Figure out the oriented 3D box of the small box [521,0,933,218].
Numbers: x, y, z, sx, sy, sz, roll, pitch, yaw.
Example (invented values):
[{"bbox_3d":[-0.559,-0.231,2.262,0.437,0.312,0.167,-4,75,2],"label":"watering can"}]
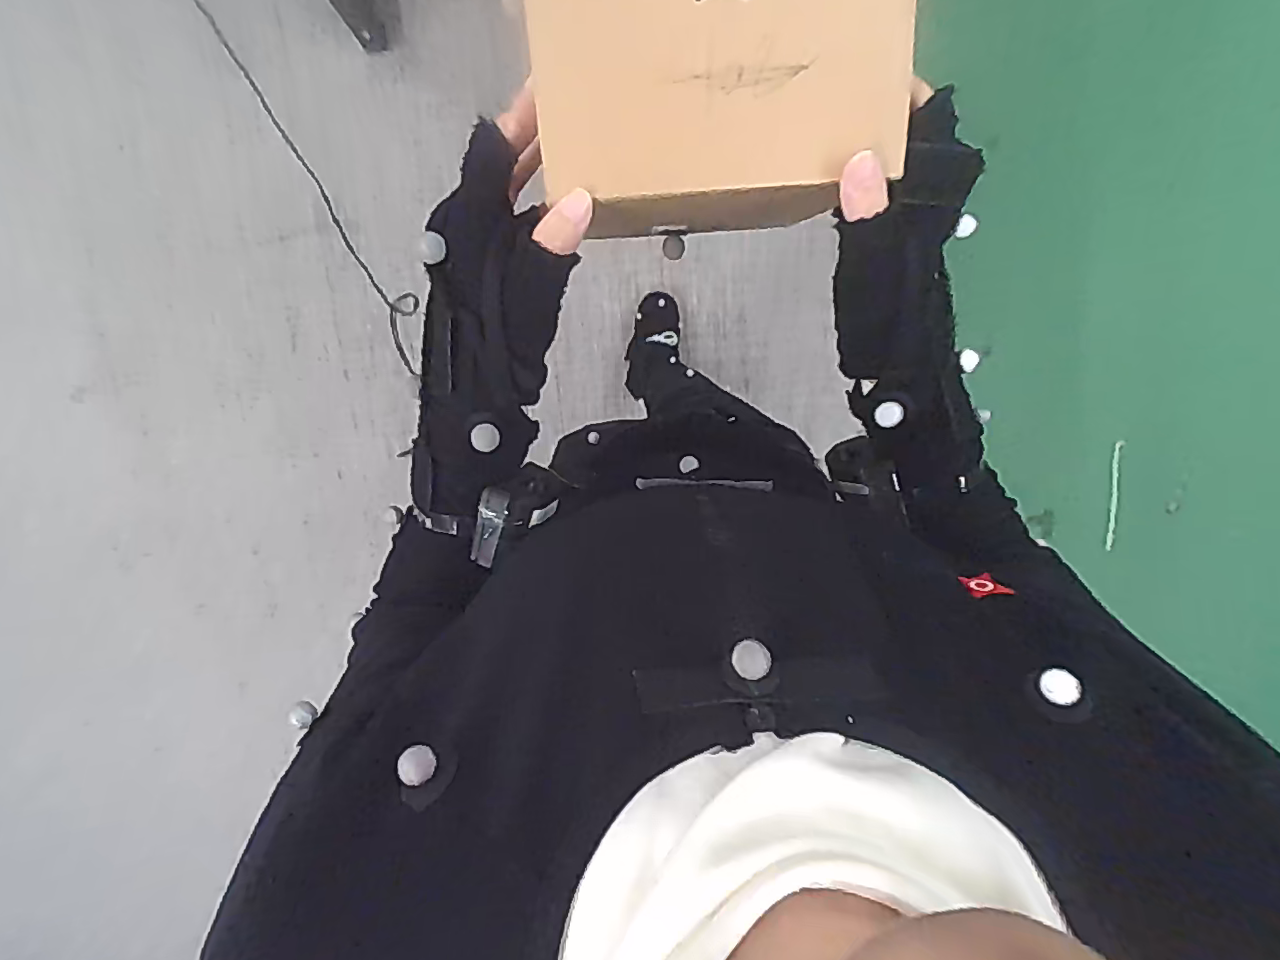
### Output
[{"bbox_3d":[0.029,-0.246,0.277,0.168,0.176,0.179,-4,109,0],"label":"small box"}]
